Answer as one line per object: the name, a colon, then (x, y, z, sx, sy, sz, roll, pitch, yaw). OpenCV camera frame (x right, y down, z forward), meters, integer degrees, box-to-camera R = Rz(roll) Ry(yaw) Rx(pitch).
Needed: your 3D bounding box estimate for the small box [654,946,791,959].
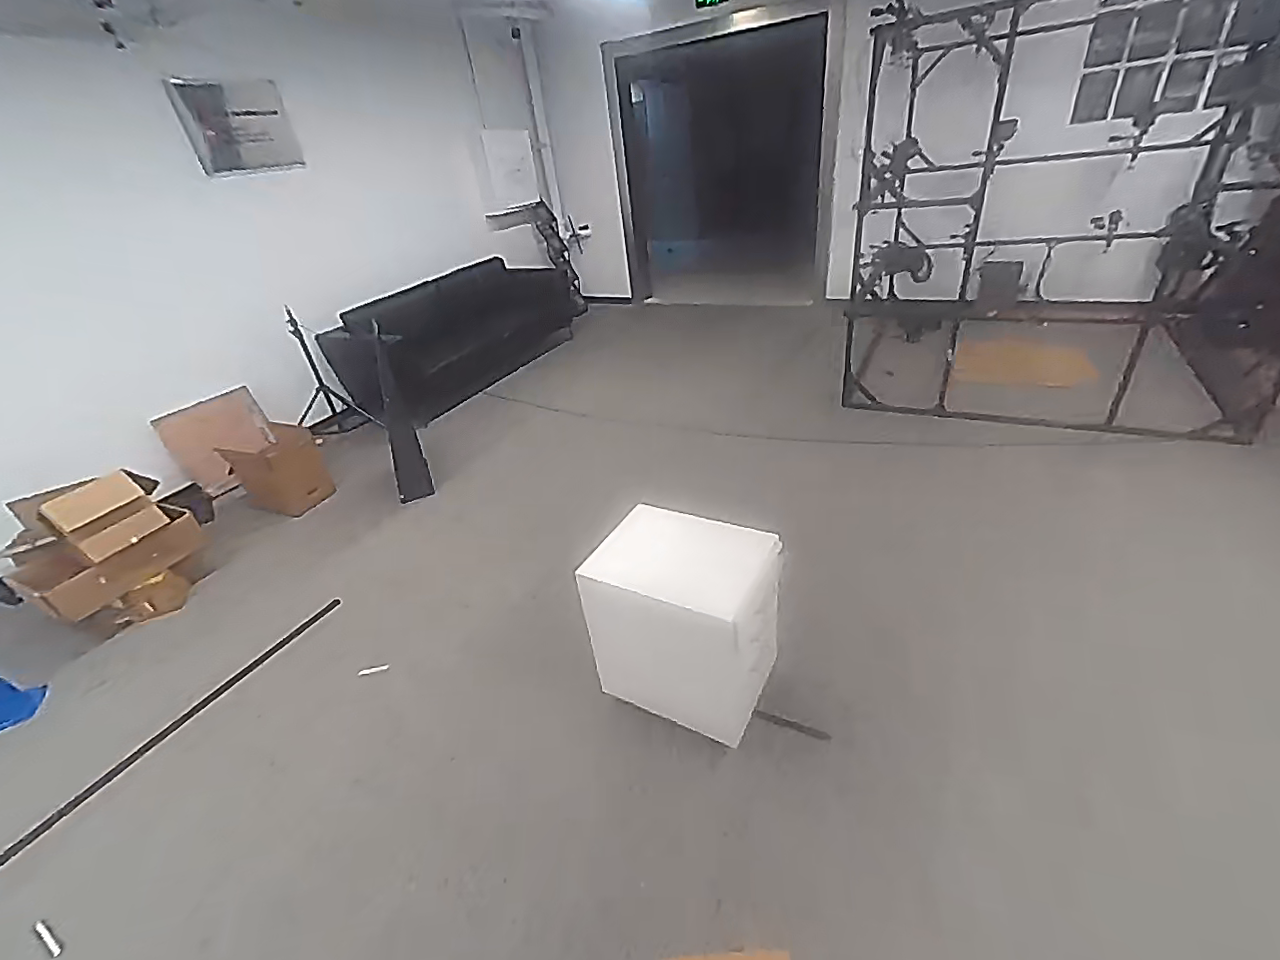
small box: (0.107, 0.675, 0.623, 0.168, 0.176, 0.179, -8, 39, 2)
